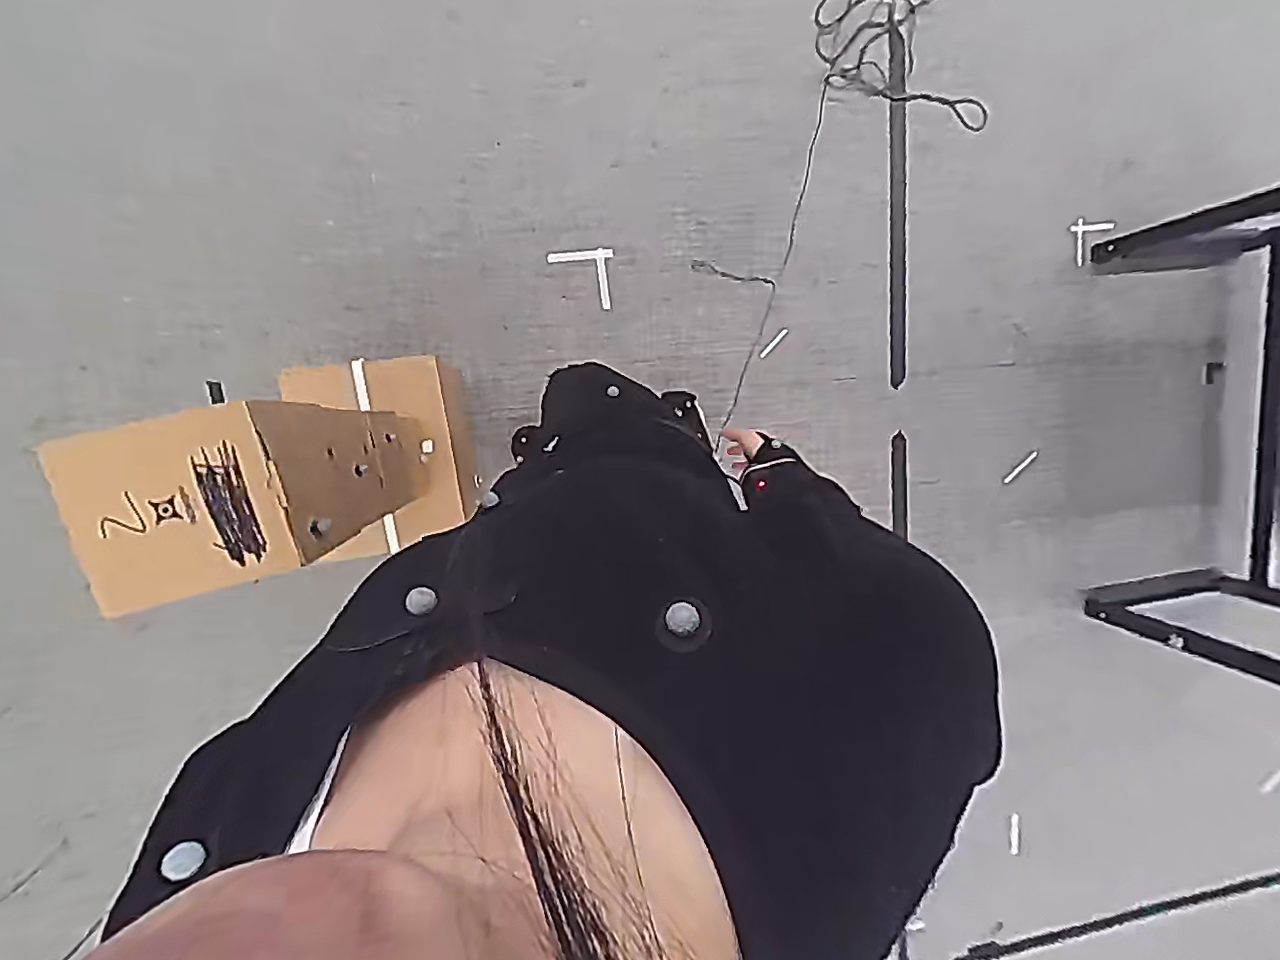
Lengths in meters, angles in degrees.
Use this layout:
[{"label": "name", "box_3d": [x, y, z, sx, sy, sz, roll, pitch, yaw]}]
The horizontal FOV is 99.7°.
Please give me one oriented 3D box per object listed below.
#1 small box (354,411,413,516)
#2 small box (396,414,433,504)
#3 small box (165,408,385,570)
[{"label": "small box", "box_3d": [-0.488, -0.021, 0.887, 0.179, 0.176, 0.168, -10, 97, -7]}, {"label": "small box", "box_3d": [-0.520, -0.033, 1.045, 0.179, 0.176, 0.168, -9, 98, -9]}, {"label": "small box", "box_3d": [-0.464, 0.002, 0.725, 0.179, 0.176, 0.168, -15, 97, -8]}]
